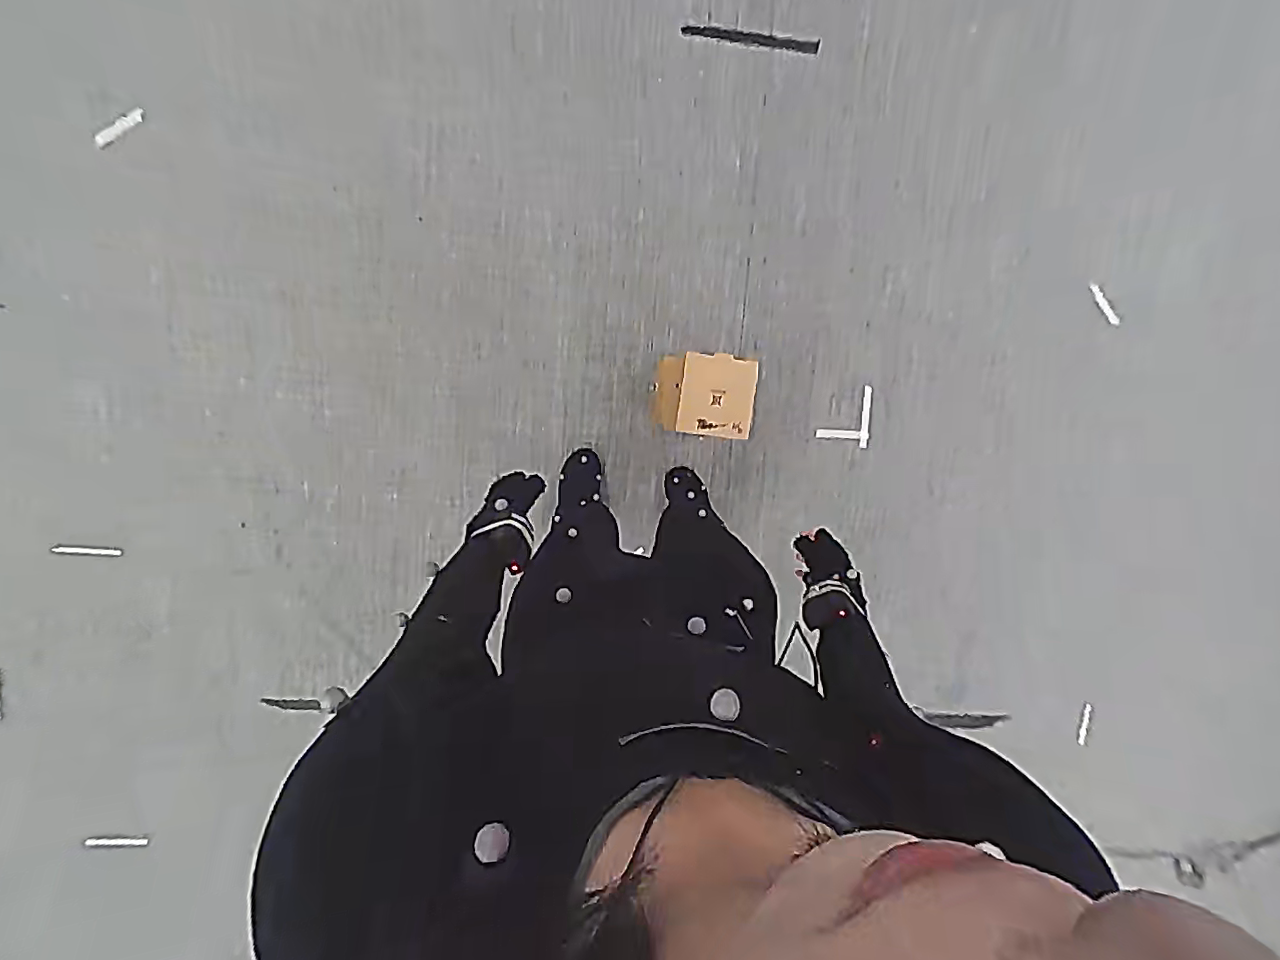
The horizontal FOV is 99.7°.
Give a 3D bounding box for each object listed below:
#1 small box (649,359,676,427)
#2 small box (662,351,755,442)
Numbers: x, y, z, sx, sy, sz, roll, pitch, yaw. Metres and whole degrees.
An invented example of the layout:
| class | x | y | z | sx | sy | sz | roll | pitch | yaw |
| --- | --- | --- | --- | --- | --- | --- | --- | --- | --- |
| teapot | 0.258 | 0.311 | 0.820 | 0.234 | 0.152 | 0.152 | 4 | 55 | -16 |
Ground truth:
| class | x | y | z | sx | sy | sz | roll | pitch | yaw |
| --- | --- | --- | --- | --- | --- | --- | --- | --- | --- |
| small box | 0.124 | -0.220 | 1.408 | 0.179 | 0.176 | 0.168 | 1 | 96 | -6 |
| small box | 0.151 | -0.187 | 1.249 | 0.168 | 0.176 | 0.179 | 7 | 95 | -8 |
